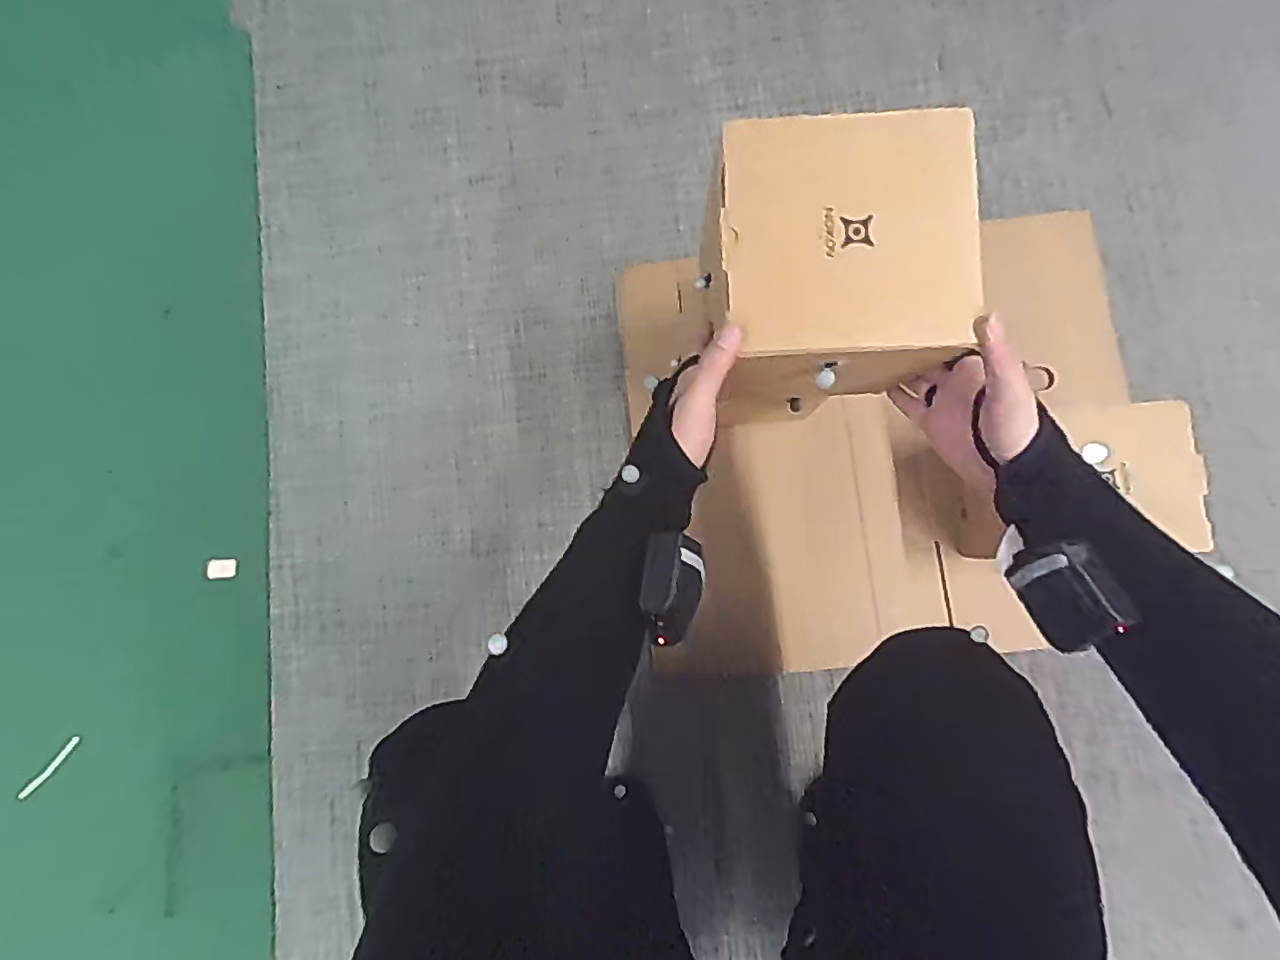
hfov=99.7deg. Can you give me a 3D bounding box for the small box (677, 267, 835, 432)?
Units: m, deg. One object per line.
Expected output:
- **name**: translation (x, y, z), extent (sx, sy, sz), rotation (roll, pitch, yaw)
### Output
- **small box**: translation (0.141, -0.163, 0.699), extent (0.179, 0.176, 0.168), rotation (-5, 82, 3)

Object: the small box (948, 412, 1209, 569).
- **small box**: translation (0.511, 0.019, 0.658), extent (0.179, 0.176, 0.168), rotation (-3, 82, 4)

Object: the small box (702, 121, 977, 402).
- **small box**: translation (0.146, -0.162, 0.453), extent (0.179, 0.176, 0.168), rotation (-2, 88, 4)
